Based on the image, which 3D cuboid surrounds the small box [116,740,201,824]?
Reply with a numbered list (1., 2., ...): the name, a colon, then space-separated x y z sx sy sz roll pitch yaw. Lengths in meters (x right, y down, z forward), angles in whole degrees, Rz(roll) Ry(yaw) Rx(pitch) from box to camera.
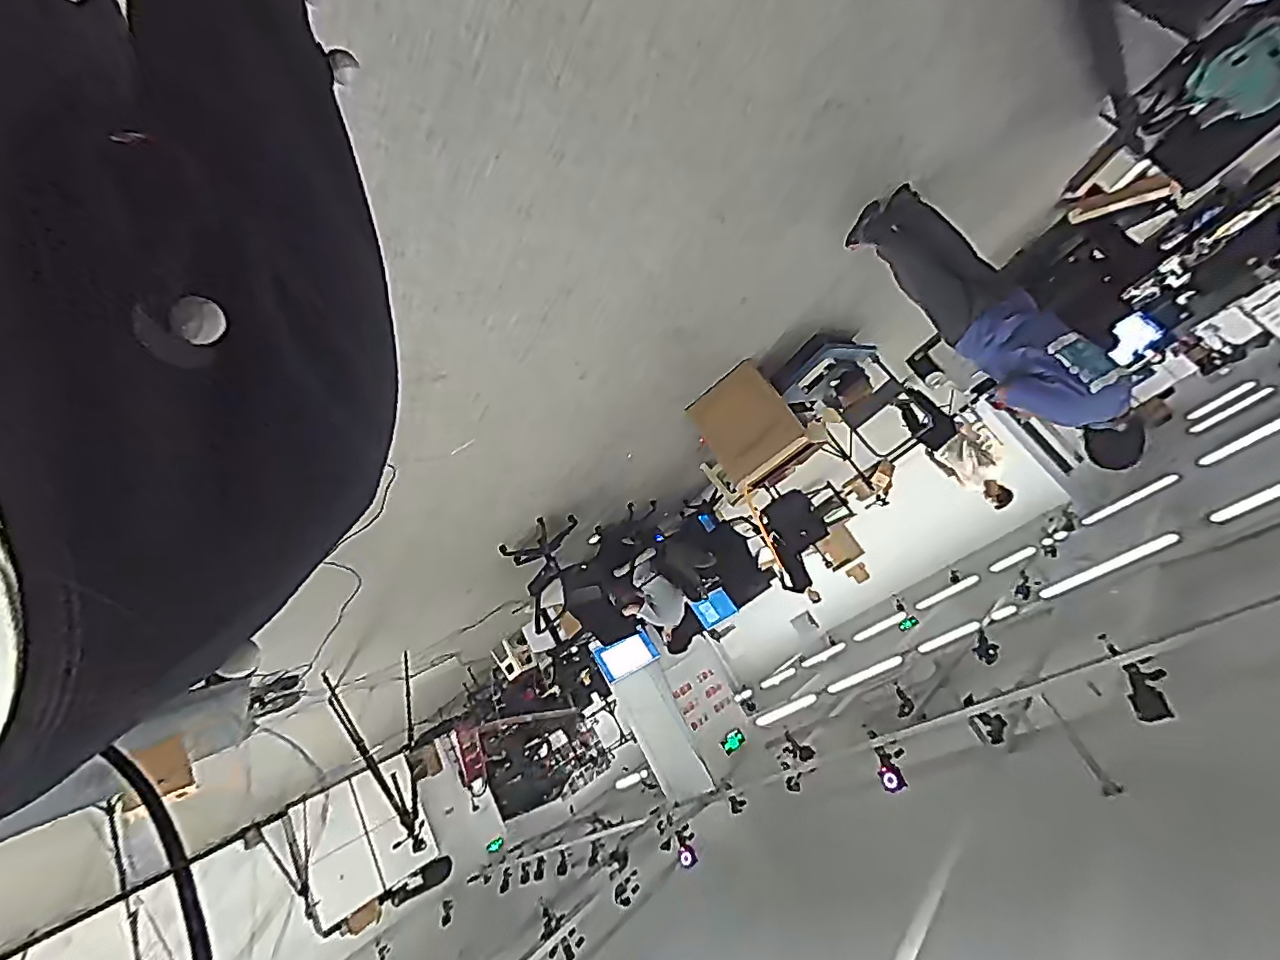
1. small box: -1.582 0.989 1.781 0.179 0.176 0.168 -13 153 -41
